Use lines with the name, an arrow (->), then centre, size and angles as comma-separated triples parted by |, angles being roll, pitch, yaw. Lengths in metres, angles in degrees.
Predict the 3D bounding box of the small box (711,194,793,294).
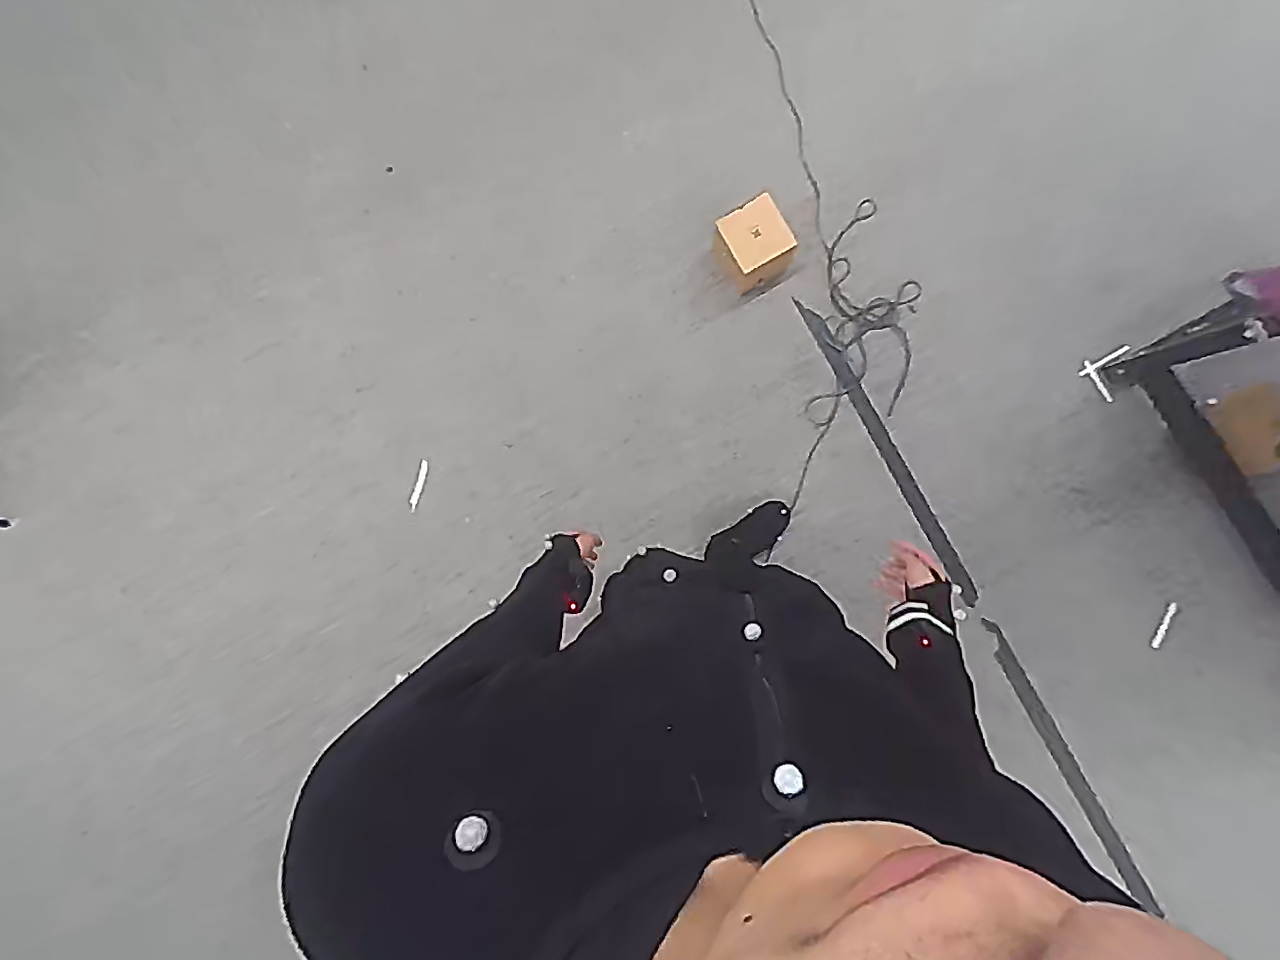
small box -> 0.315, -0.674, 1.563 | 0.168, 0.176, 0.179 | -28, 86, 4
